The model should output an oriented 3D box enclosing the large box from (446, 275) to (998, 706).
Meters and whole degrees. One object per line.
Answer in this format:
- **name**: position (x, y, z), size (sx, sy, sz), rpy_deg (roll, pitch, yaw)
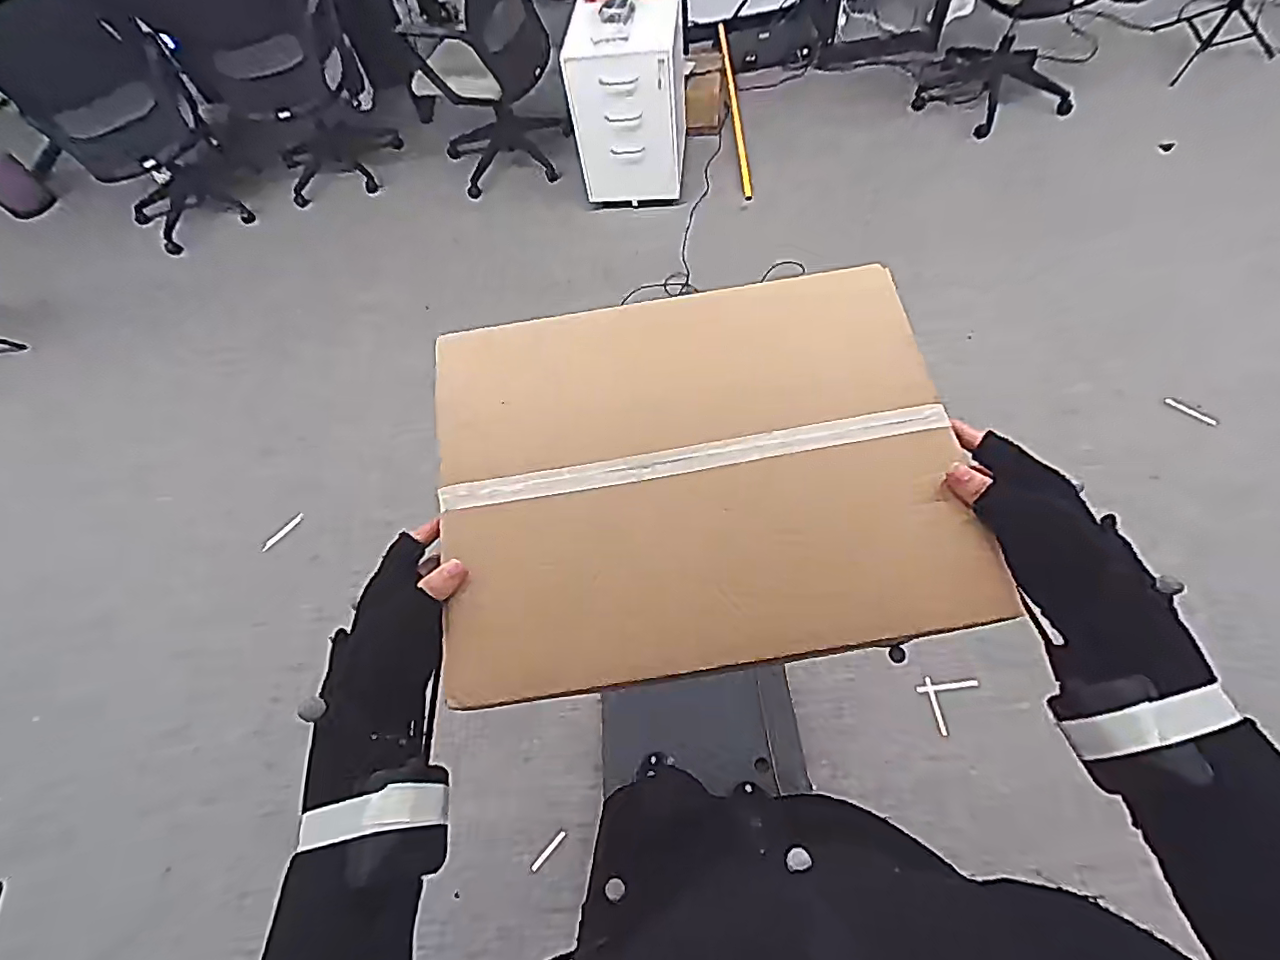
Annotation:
- **large box**: position (0.052, 0.036, 0.579), size (0.408, 0.320, 0.320), rpy_deg (-9, 69, 0)
